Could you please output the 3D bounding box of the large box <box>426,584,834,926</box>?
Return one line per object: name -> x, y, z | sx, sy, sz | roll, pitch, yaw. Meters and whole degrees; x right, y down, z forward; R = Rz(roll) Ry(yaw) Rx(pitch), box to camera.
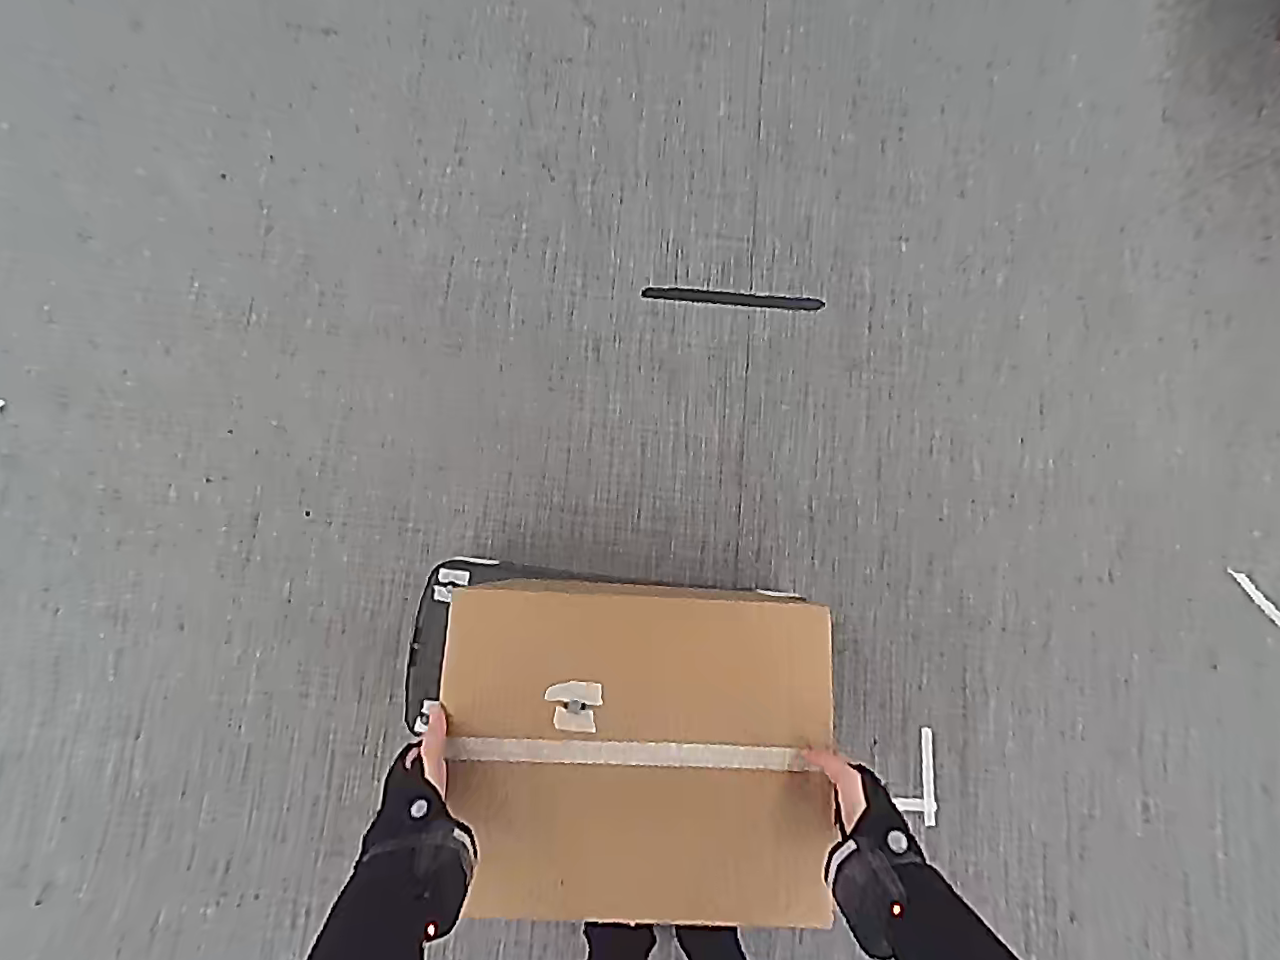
large box -> -0.005, 0.299, 0.692 | 0.408, 0.320, 0.320 | 3, 80, -1
